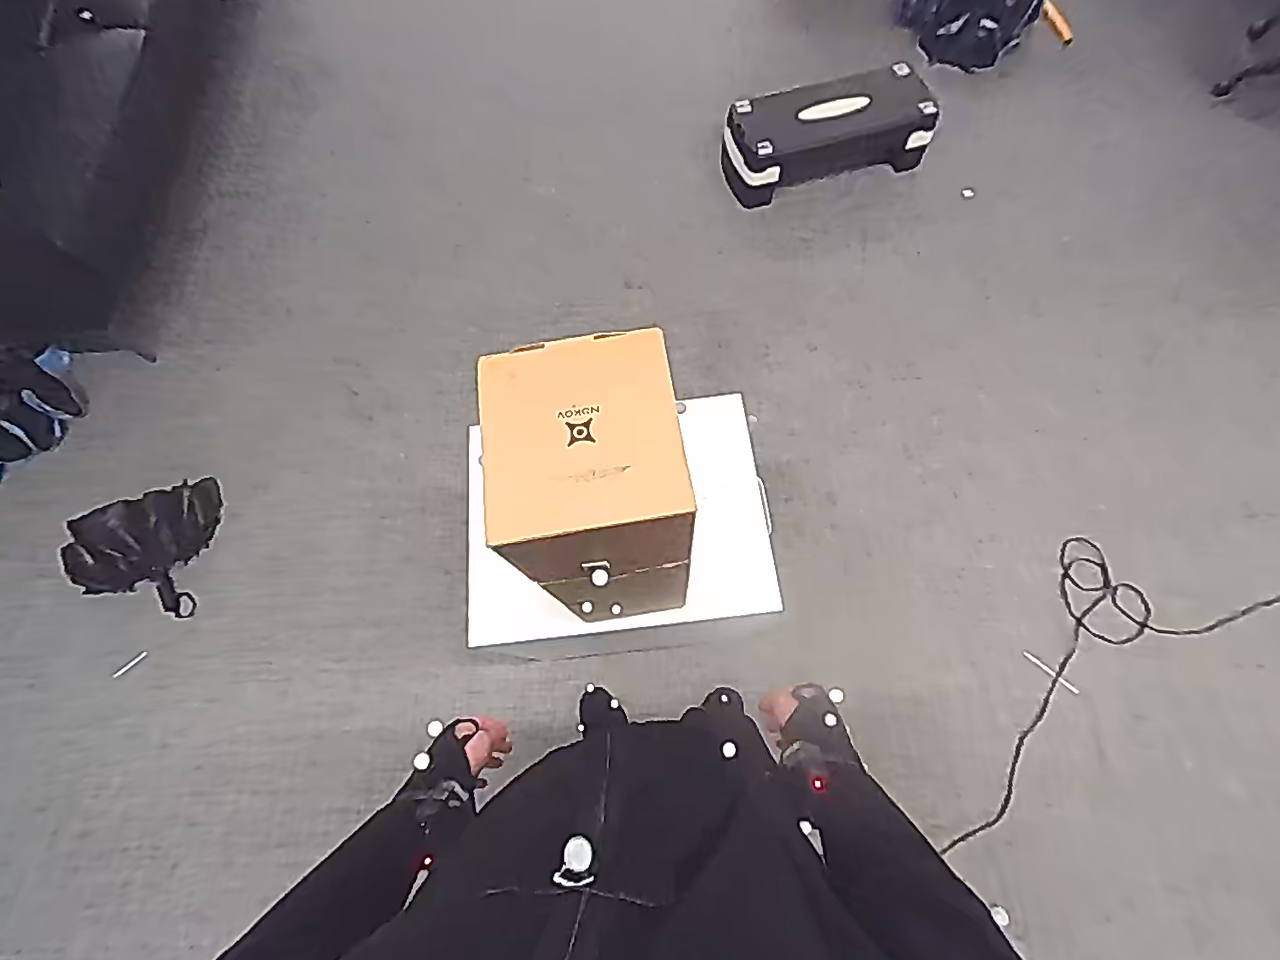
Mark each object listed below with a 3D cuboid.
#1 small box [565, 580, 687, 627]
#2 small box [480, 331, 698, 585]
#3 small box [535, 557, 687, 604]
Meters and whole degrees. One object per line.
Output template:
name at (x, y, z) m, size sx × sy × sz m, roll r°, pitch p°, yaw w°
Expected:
small box at (-0.026, 0.112, 0.823) m, size 0.168 × 0.176 × 0.179 m, roll -12°, pitch 67°, yaw 1°
small box at (-0.044, -0.012, 0.519) m, size 0.168 × 0.176 × 0.179 m, roll -10°, pitch 68°, yaw 0°
small box at (-0.036, 0.050, 0.670) m, size 0.168 × 0.176 × 0.179 m, roll -9°, pitch 67°, yaw -1°
